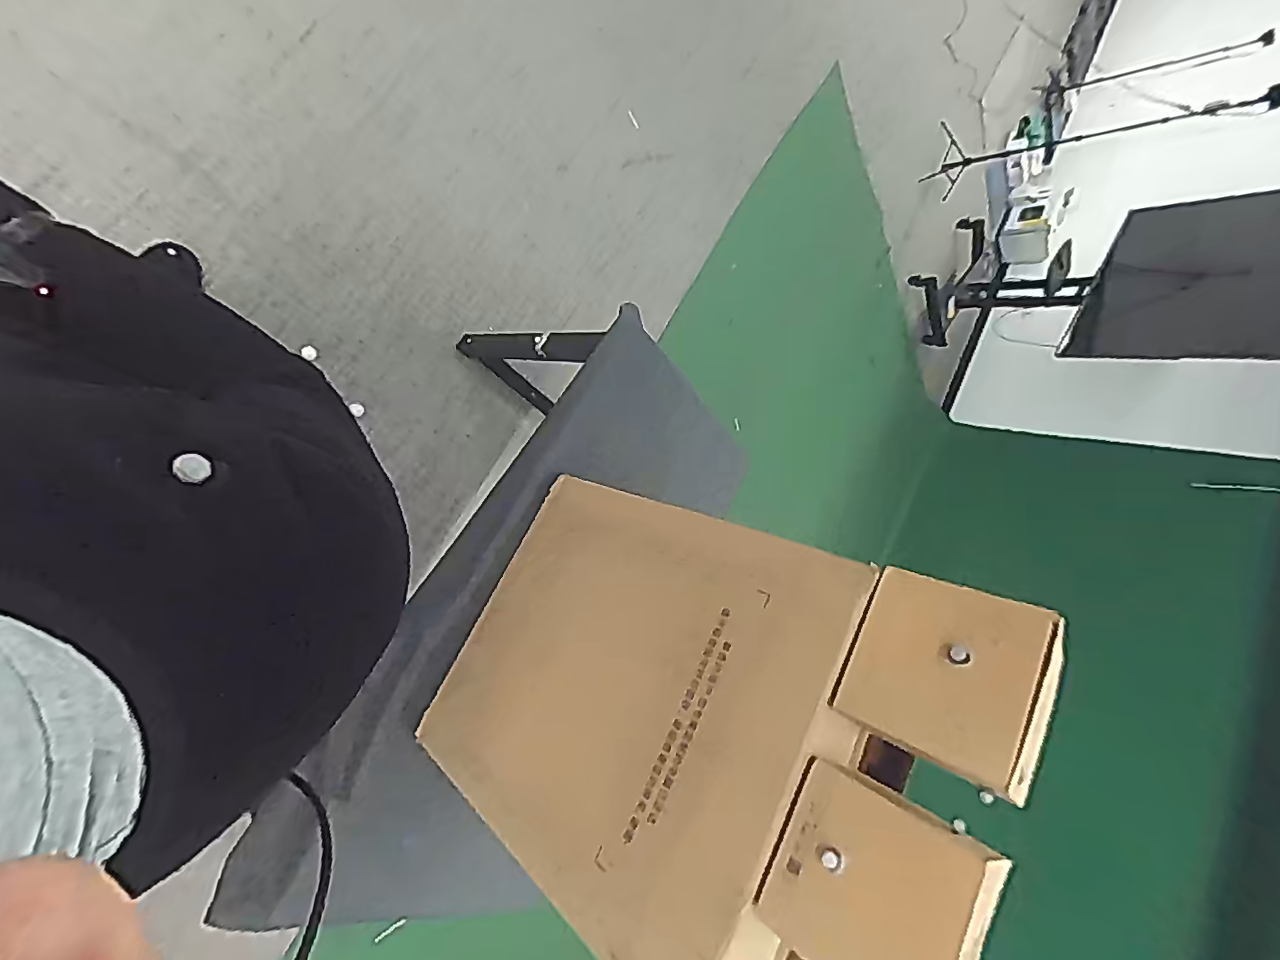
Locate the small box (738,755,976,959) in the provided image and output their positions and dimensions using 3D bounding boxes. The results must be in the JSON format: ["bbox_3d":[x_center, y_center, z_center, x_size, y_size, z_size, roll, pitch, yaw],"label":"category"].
[{"bbox_3d":[0.236,0.426,0.587,0.179,0.176,0.168,40,72,-43],"label":"small box"}]

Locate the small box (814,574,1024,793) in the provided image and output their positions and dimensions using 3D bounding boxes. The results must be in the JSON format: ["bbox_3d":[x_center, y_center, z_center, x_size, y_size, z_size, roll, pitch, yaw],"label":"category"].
[{"bbox_3d":[0.327,0.230,0.633,0.168,0.176,0.179,41,70,-44],"label":"small box"}]
